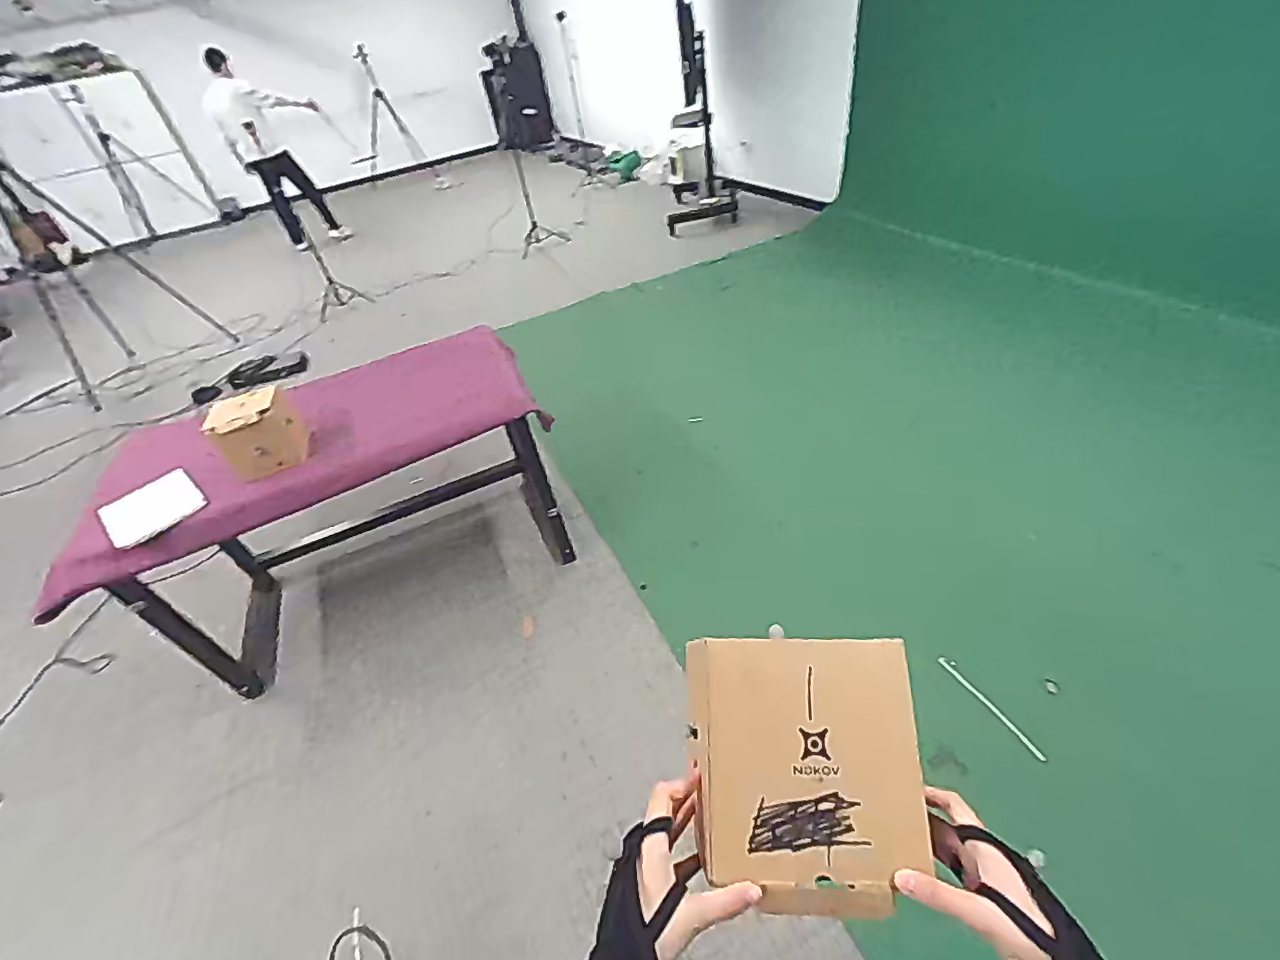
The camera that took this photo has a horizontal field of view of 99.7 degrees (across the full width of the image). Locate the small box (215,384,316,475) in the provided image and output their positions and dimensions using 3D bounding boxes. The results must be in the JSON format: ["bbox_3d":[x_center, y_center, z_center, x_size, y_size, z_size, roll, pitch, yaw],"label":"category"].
[{"bbox_3d":[-1.024,-0.132,1.497,0.168,0.176,0.179,-22,42,-13],"label":"small box"}]

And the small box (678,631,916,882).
[{"bbox_3d":[0.125,0.236,0.500,0.168,0.176,0.179,2,71,-1],"label":"small box"}]
